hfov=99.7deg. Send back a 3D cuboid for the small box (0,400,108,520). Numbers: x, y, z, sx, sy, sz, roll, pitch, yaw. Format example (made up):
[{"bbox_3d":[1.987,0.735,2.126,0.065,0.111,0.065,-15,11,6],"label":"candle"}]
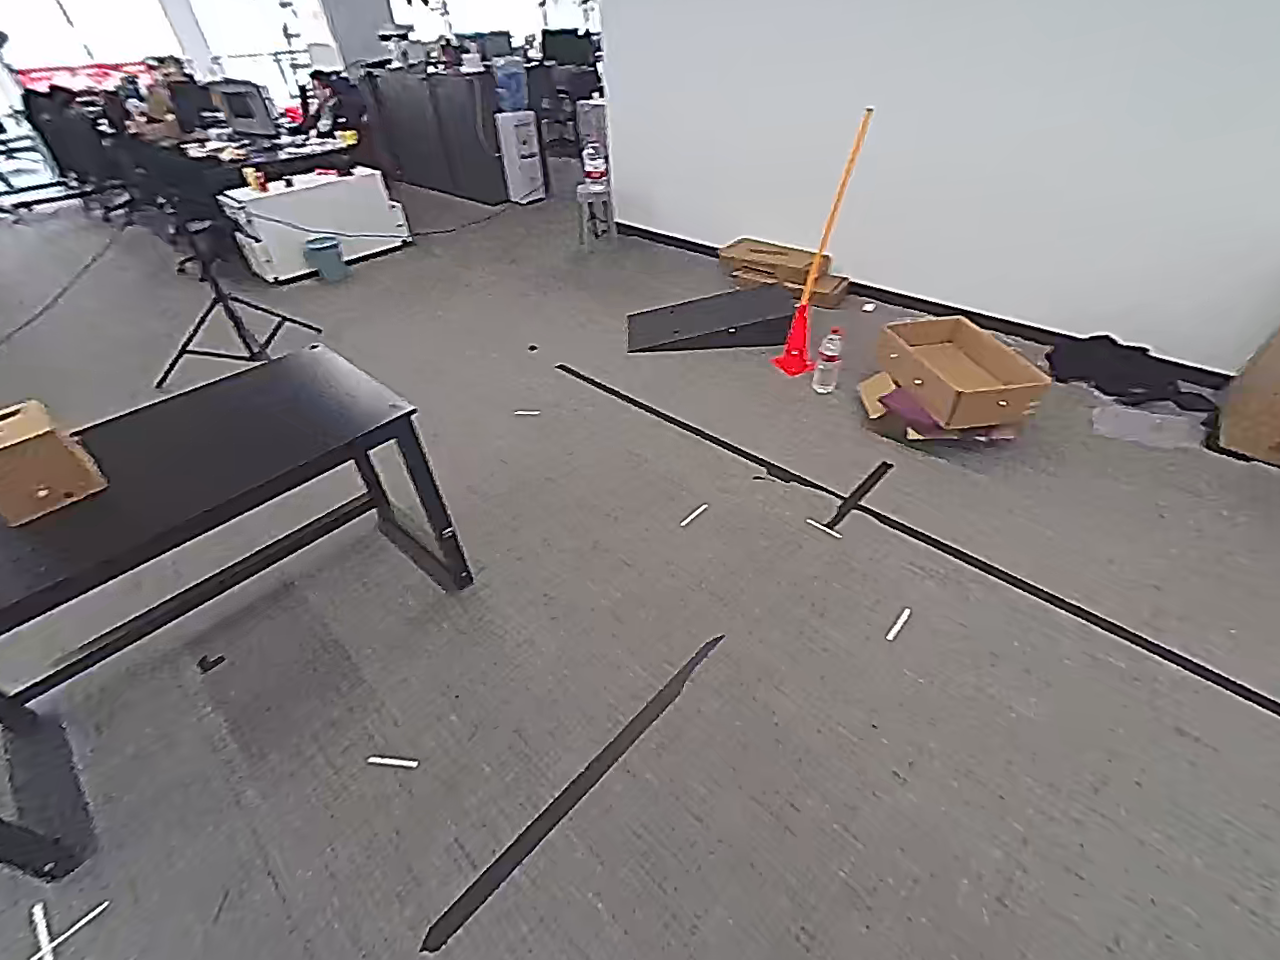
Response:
[{"bbox_3d":[-1.317,-0.043,1.167,0.179,0.176,0.168,30,50,30],"label":"small box"}]
